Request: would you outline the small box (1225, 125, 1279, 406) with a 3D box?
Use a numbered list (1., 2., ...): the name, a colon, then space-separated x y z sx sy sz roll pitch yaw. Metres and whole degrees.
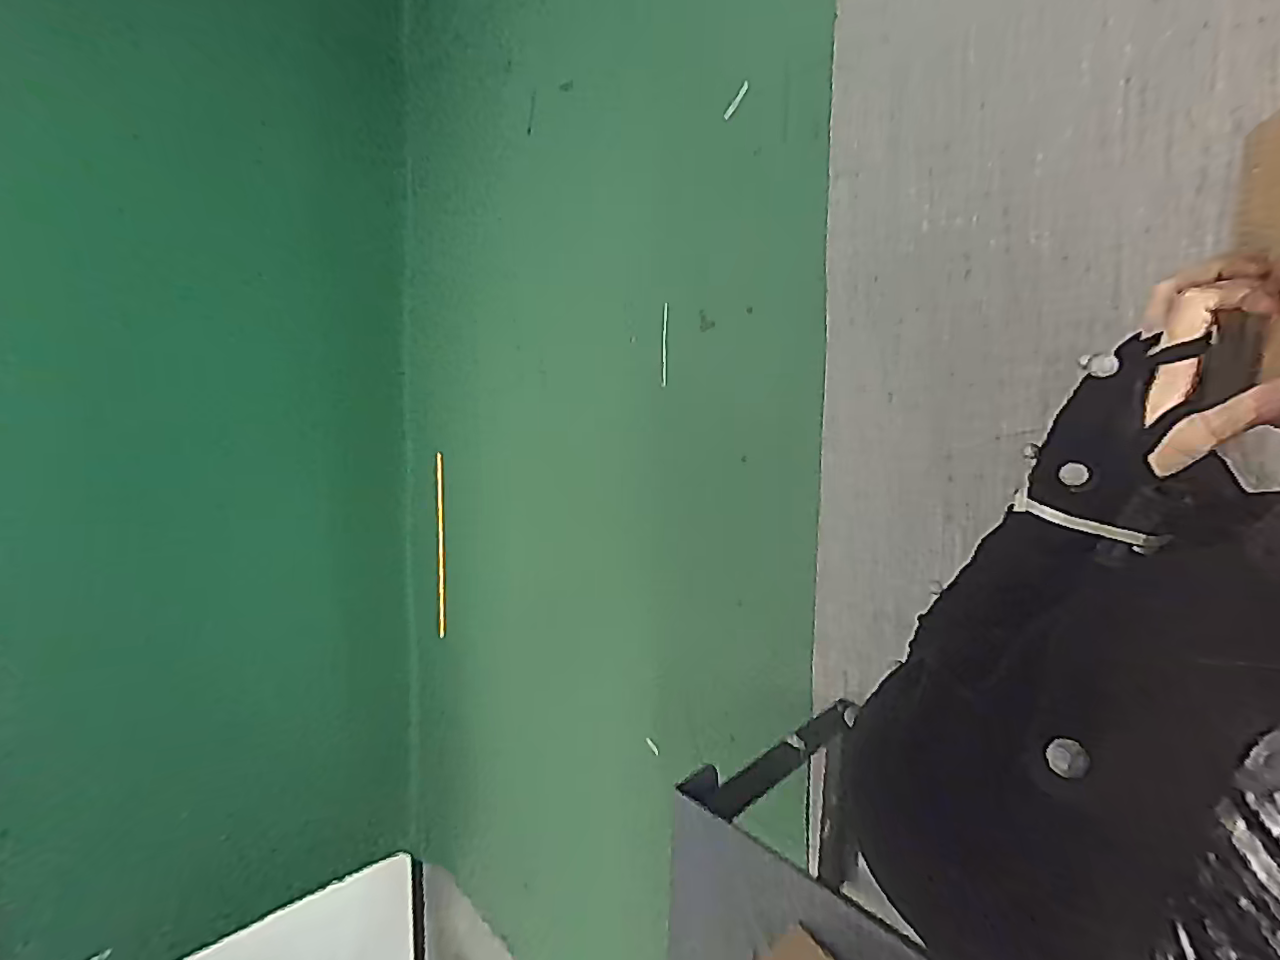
1. small box: 0.428 -0.119 0.254 0.168 0.176 0.179 2 106 31
